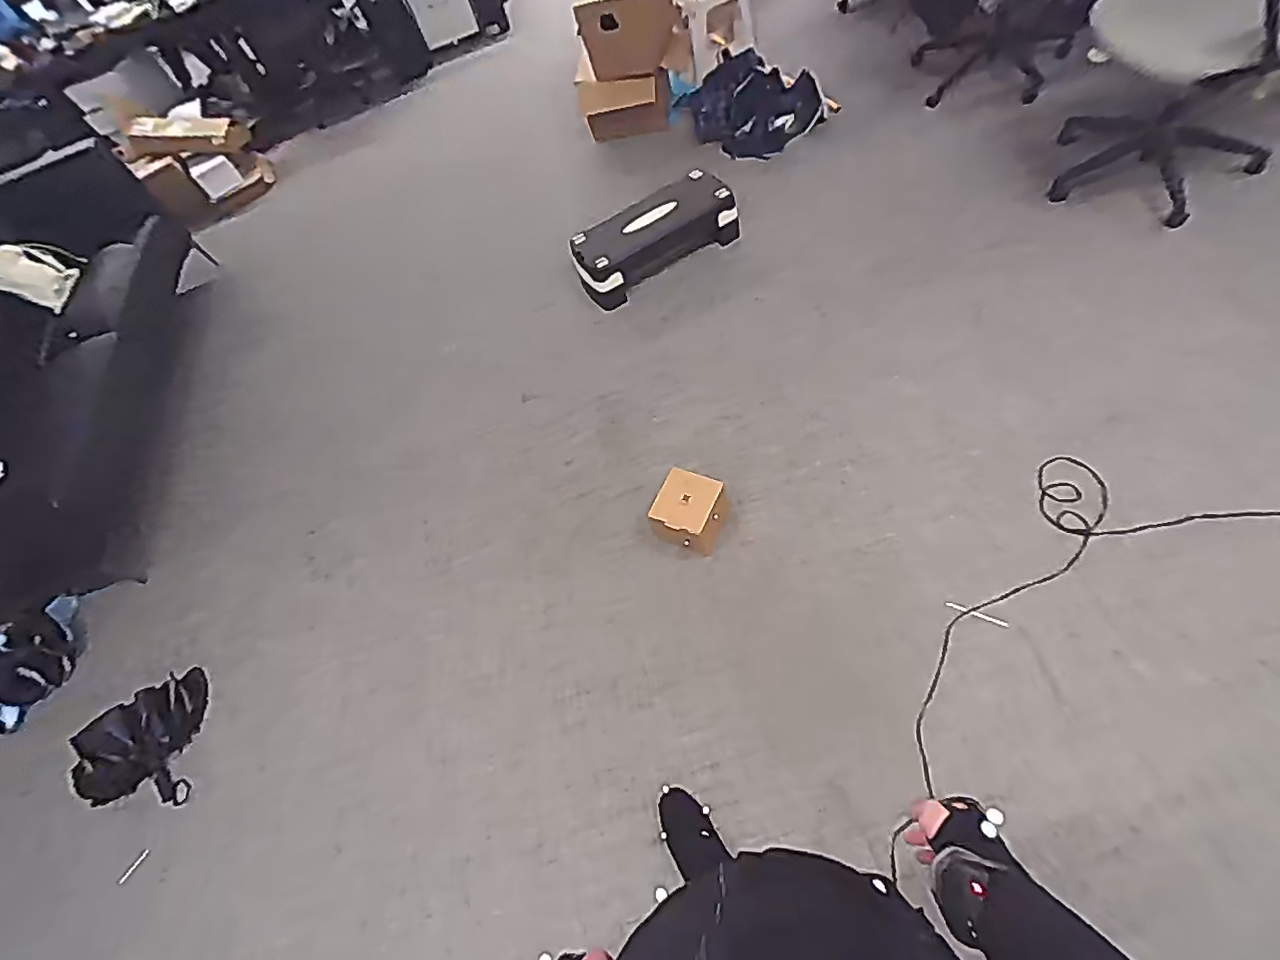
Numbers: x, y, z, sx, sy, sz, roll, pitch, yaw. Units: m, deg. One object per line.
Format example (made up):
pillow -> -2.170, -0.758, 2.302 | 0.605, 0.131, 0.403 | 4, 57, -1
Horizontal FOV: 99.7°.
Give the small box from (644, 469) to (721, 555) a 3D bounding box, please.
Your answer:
small box -> 0.135, 0.100, 1.610 | 0.168, 0.176, 0.179 | 19, 65, 23
